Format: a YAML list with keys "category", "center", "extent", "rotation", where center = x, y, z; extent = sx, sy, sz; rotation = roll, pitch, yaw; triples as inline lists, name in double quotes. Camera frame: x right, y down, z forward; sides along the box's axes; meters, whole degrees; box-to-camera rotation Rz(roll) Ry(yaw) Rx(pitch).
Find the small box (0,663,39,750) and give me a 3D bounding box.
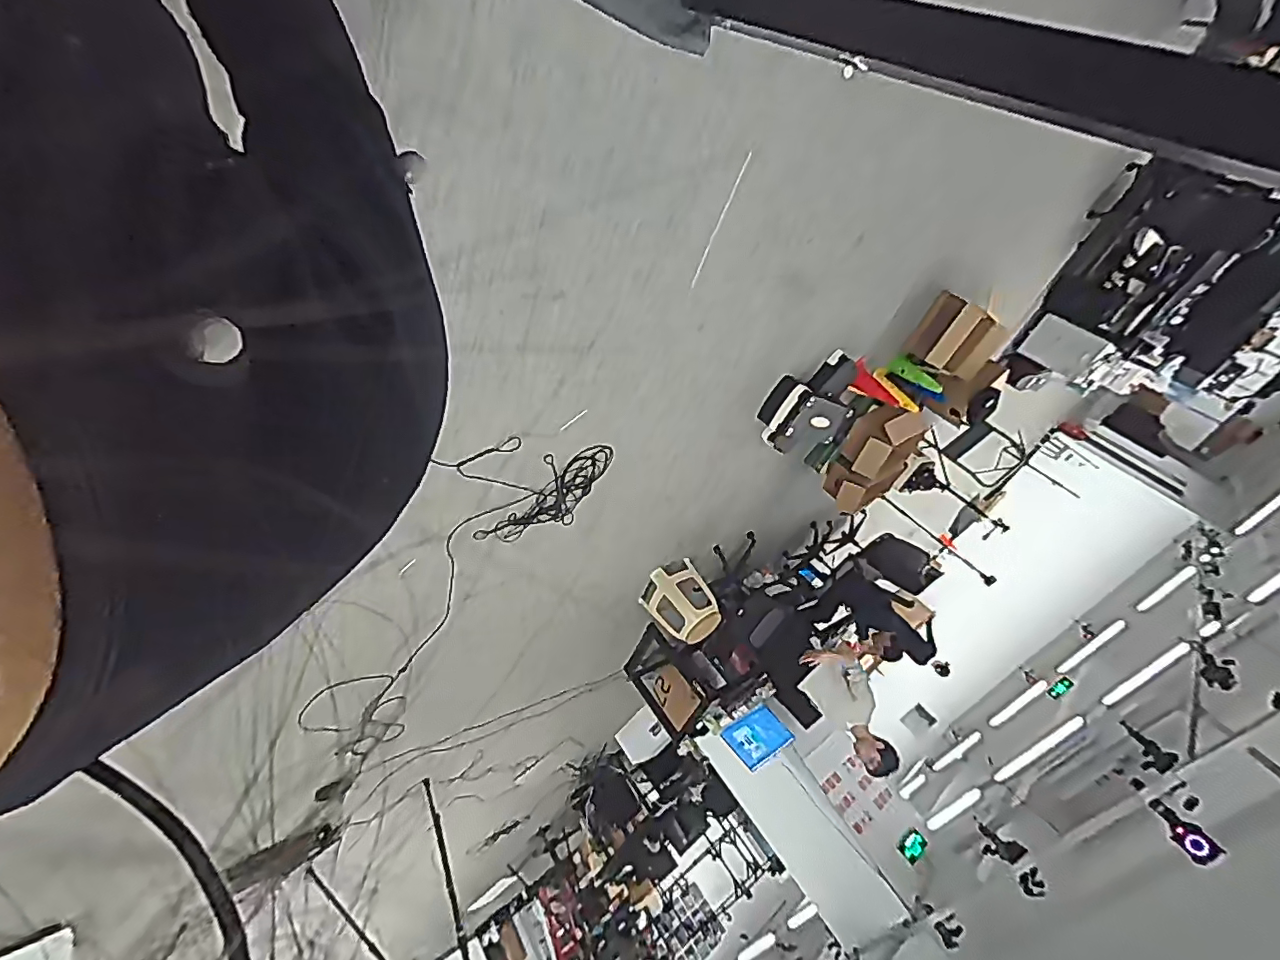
- category: "small box"
  center: [-1.747, 0.612, 1.437]
  extent: [0.168, 0.176, 0.179]
  rotation: [-13, 139, -37]
